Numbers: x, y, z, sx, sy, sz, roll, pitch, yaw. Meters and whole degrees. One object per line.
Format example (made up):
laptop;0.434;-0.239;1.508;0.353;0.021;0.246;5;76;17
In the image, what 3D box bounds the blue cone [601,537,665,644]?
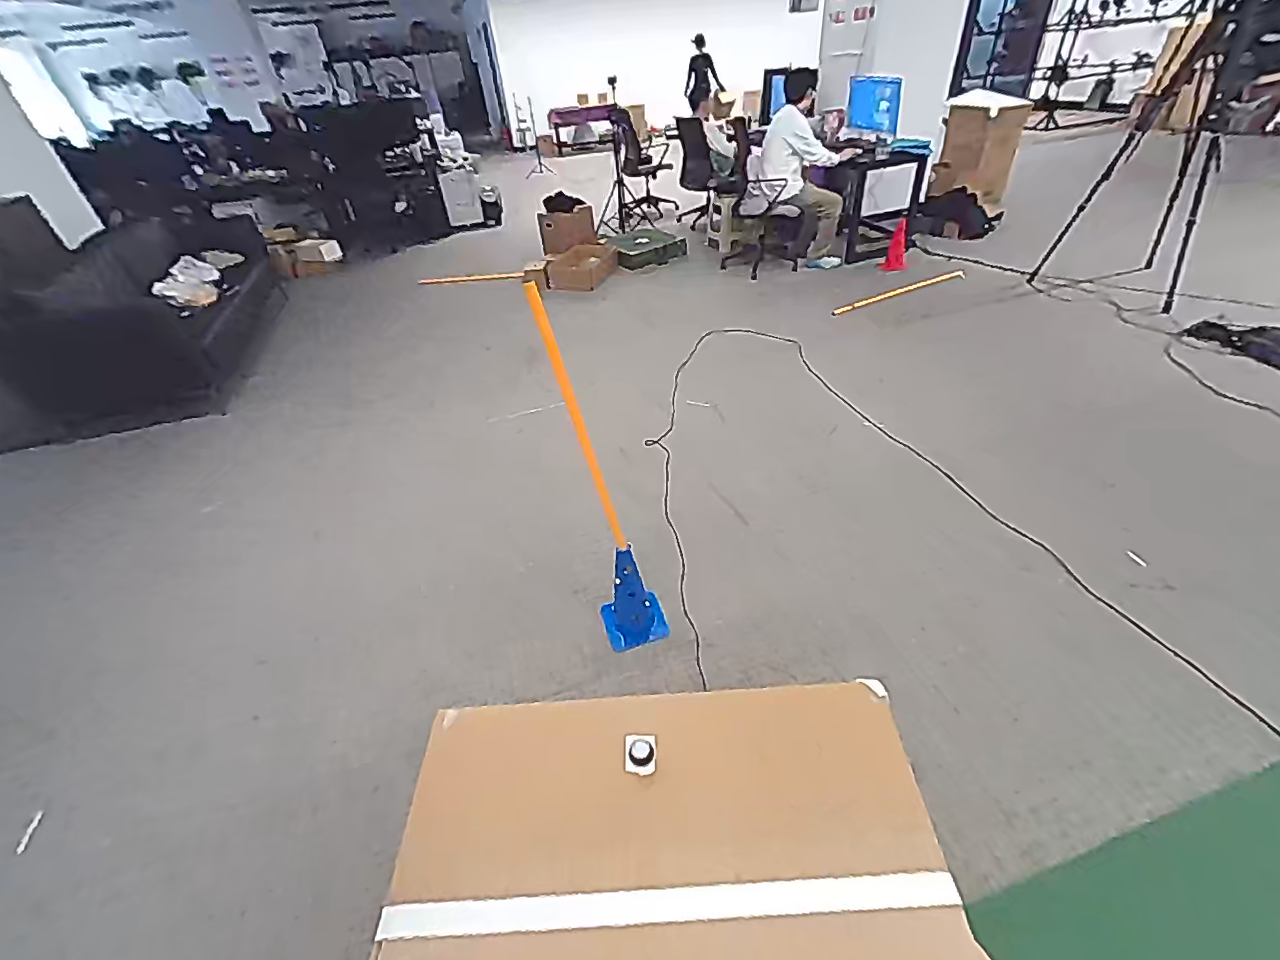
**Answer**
blue cone;-0.041;0.332;1.718;0.193;0.380;0.192;-17;40;-11
